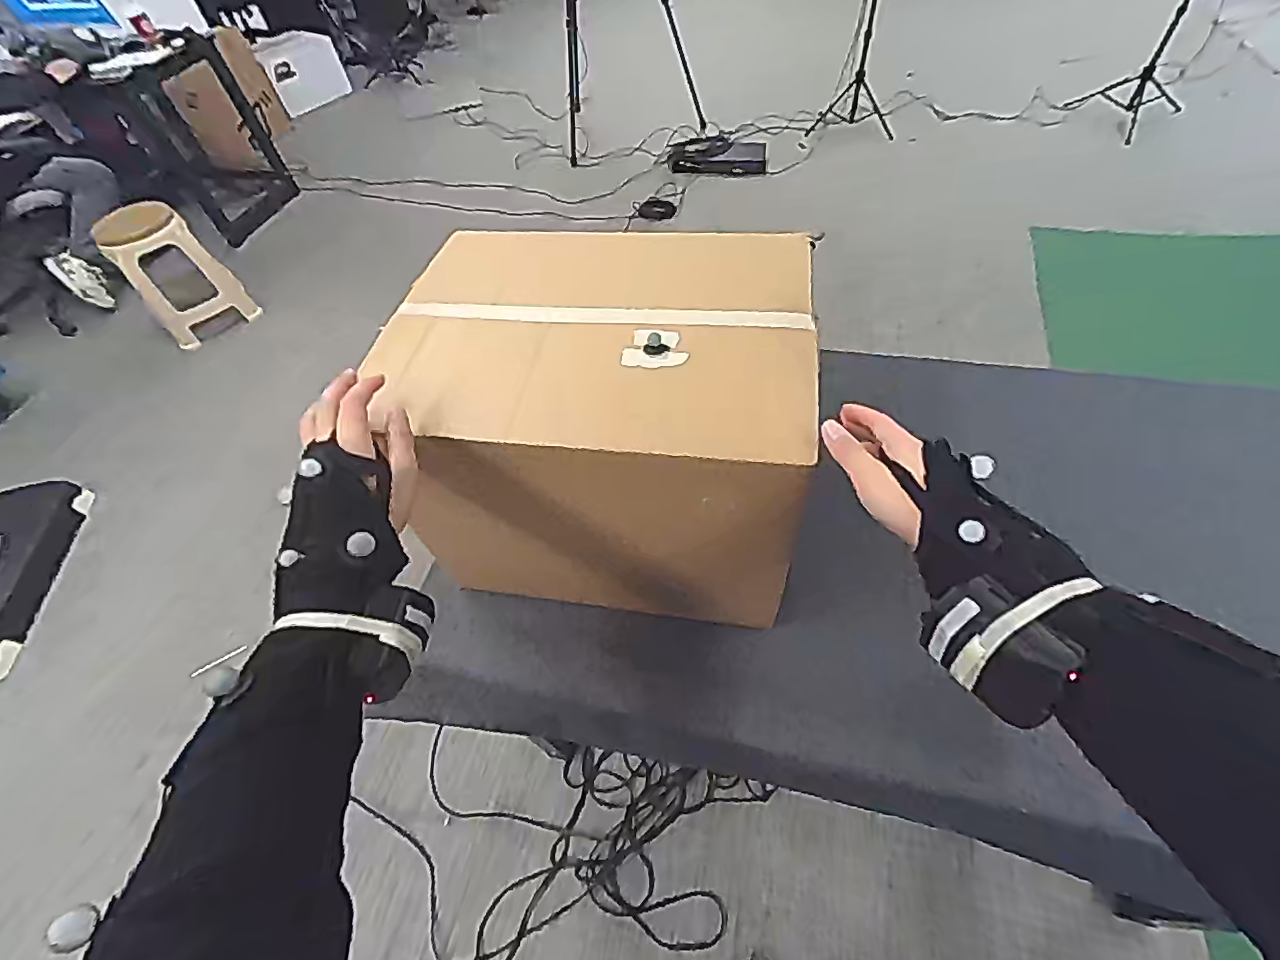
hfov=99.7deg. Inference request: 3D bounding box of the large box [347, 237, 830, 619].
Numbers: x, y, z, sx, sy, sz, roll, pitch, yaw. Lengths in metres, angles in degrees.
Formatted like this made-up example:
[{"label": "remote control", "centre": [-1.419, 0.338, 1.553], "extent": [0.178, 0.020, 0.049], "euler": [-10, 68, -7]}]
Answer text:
[{"label": "large box", "centre": [-0.023, -0.058, 0.633], "extent": [0.408, 0.320, 0.320], "euler": [6, 54, 9]}]
